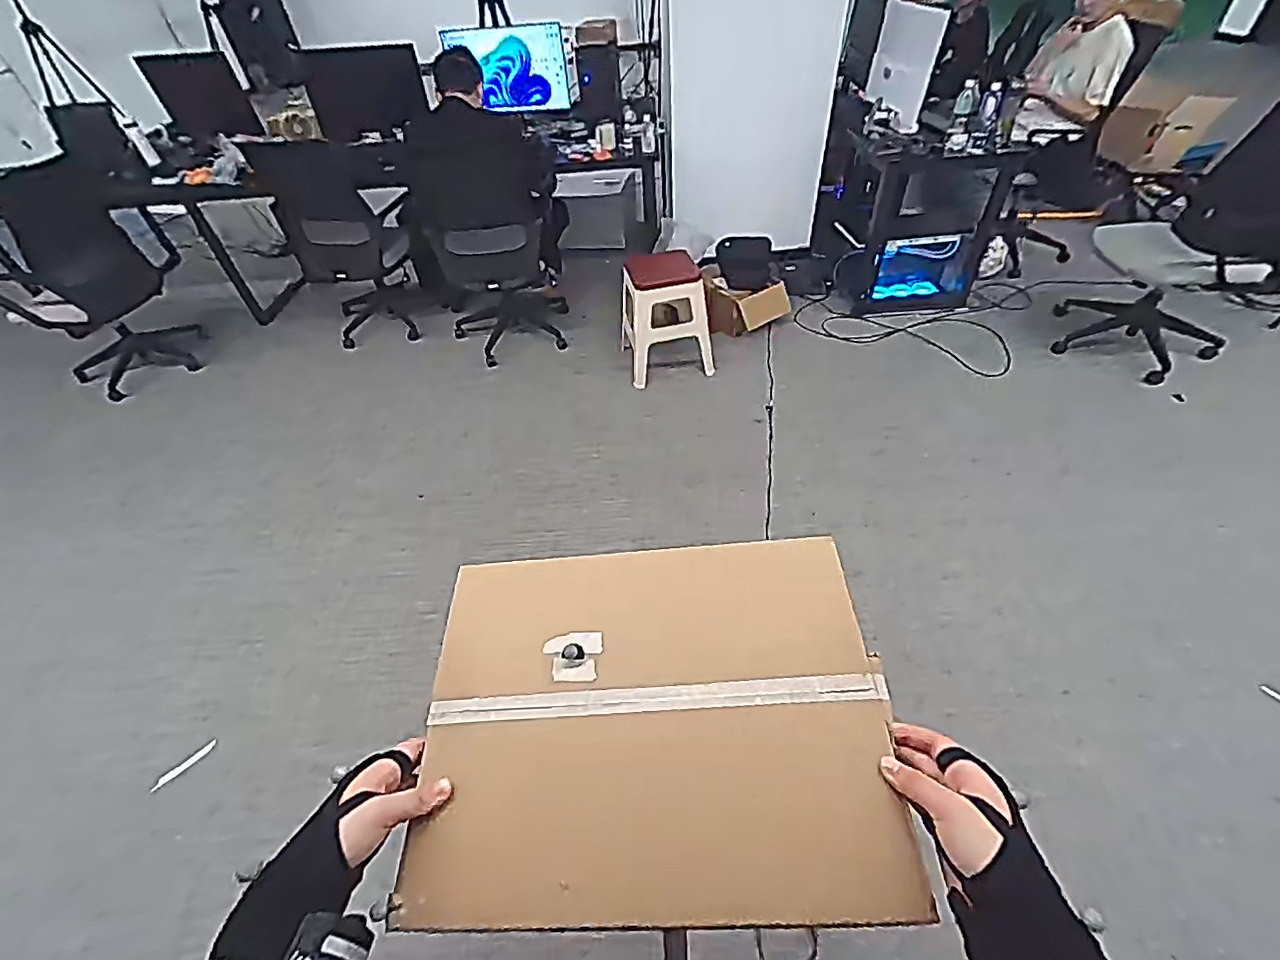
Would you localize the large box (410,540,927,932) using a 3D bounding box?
[{"bbox_3d":[0.032,0.298,0.613,0.408,0.320,0.320,-7,50,6],"label":"large box"}]
